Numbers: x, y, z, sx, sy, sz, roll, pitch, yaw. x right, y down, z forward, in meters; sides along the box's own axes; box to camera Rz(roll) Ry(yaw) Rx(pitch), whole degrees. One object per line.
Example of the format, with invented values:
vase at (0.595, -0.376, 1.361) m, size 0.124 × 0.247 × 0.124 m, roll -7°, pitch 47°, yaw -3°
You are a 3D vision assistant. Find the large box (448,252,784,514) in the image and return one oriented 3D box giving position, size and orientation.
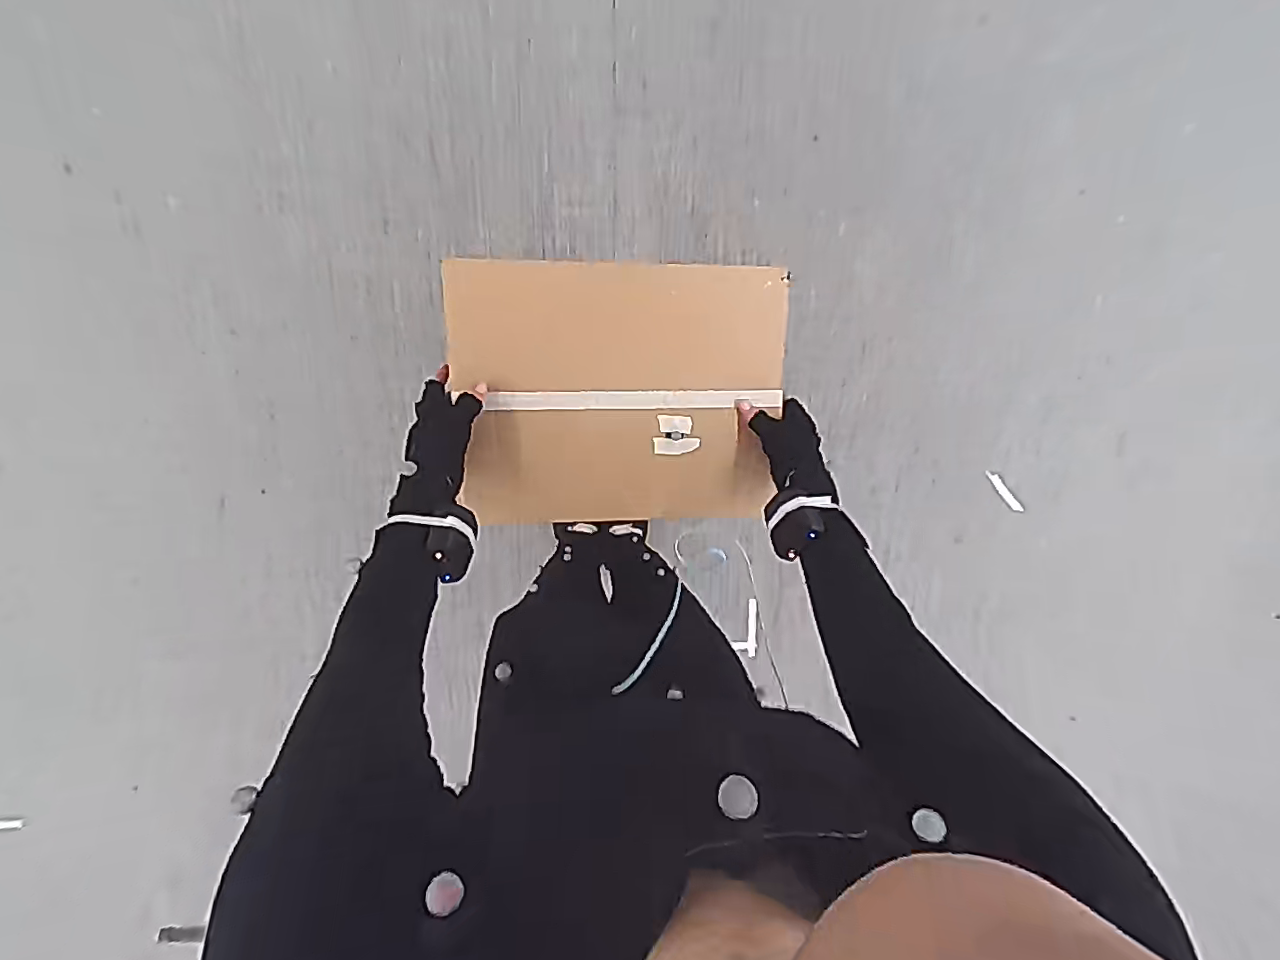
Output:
large box at (-0.041, -0.146, 0.811) m, size 0.408 × 0.320 × 0.320 m, roll -1°, pitch 105°, yaw -7°
